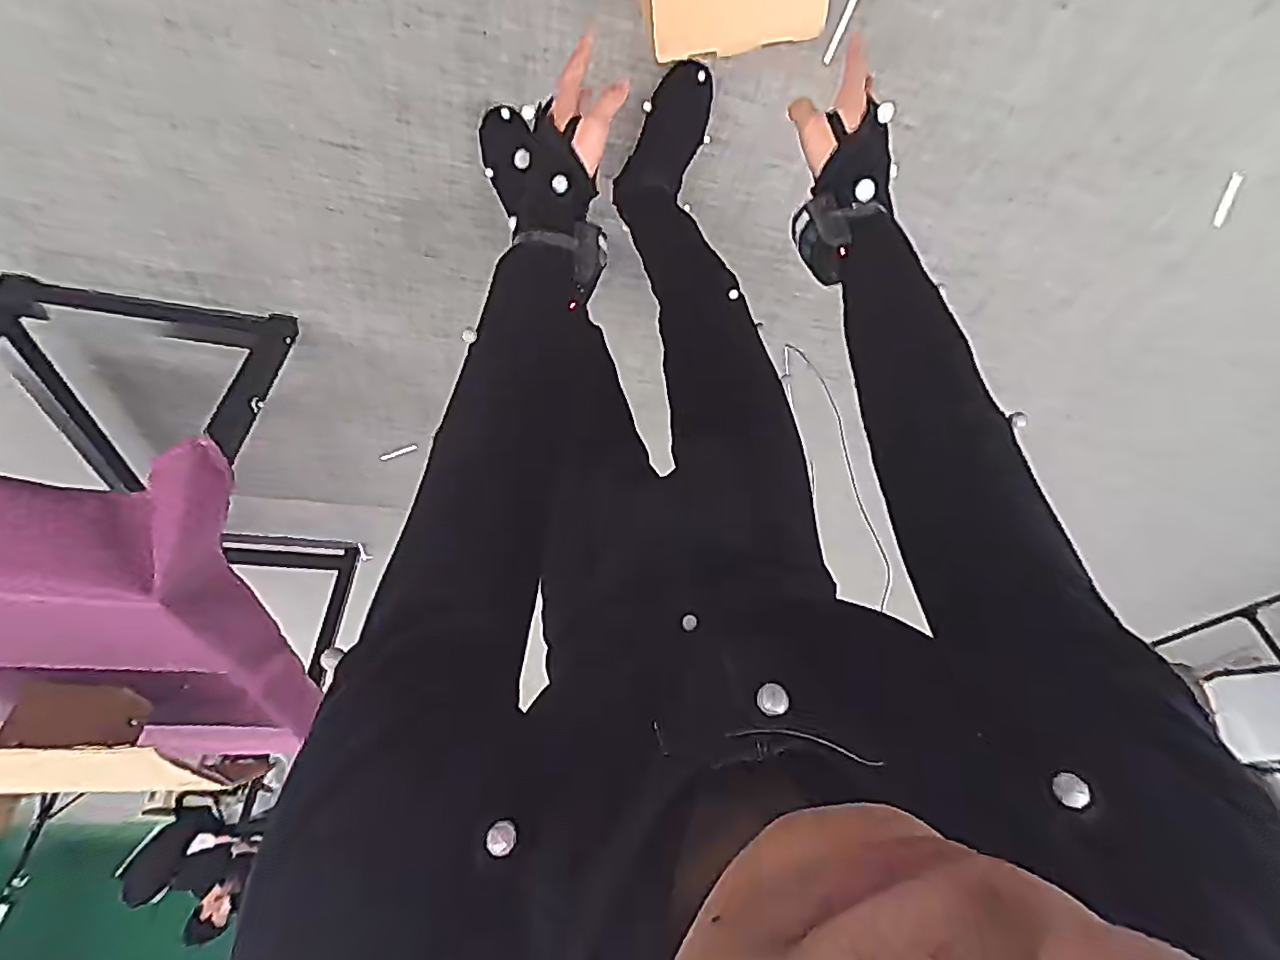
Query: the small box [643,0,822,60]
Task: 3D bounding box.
[{"bbox_3d":[0.081,-0.541,0.512,0.168,0.176,0.179,-7,144,3],"label":"small box"}]
